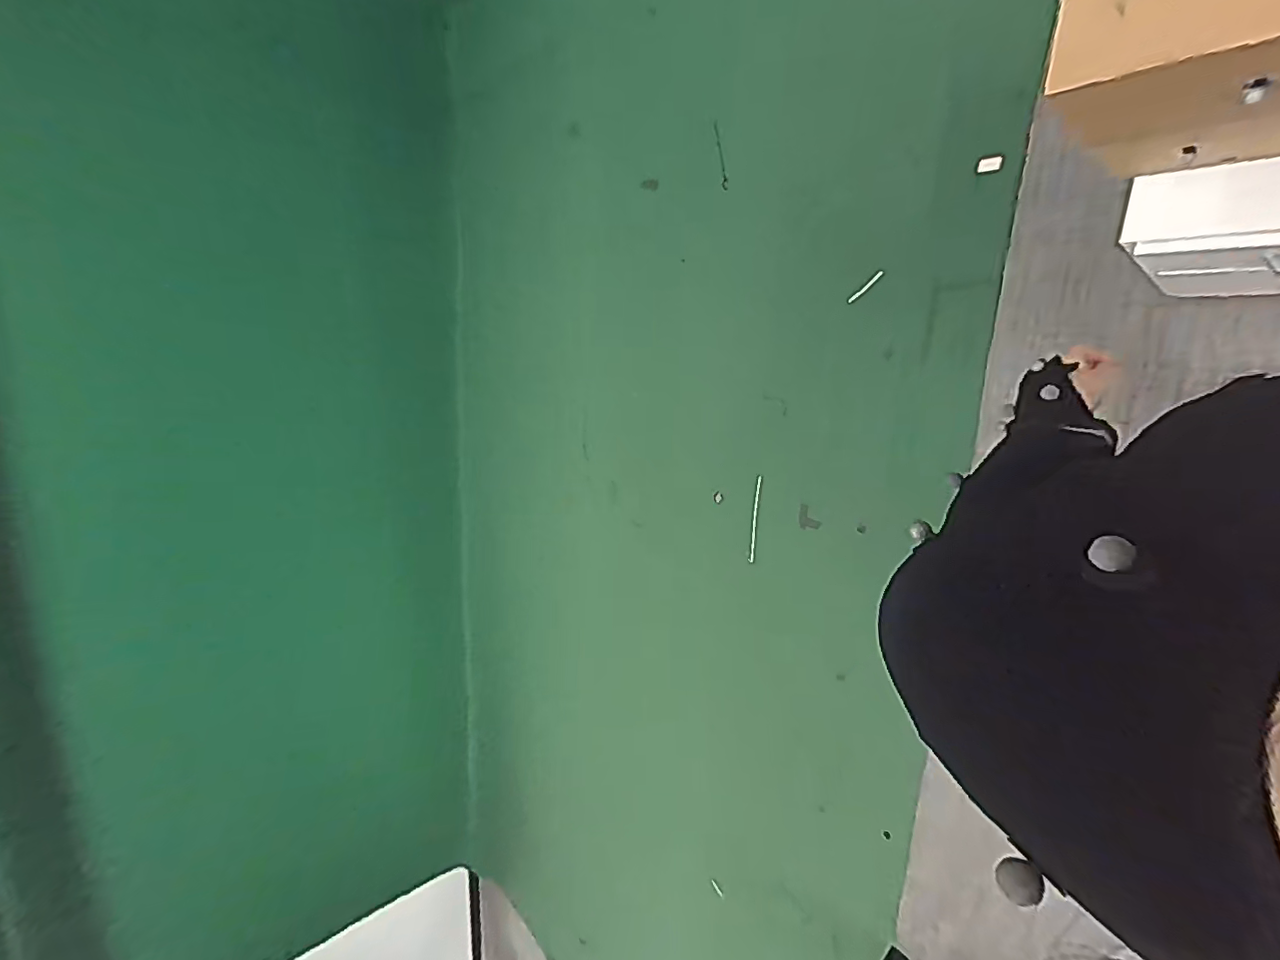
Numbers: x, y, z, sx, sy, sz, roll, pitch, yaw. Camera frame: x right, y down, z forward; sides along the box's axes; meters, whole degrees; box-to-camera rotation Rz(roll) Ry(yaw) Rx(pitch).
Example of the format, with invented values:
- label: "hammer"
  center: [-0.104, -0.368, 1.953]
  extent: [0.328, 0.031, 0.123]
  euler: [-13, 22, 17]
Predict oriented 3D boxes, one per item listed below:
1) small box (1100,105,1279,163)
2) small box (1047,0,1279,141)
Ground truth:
- label: "small box"
  center: [0.604, -0.449, 0.558]
  extent: [0.168, 0.176, 0.179]
  euler: [18, 109, 44]
- label: "small box"
  center: [0.483, -0.416, 0.454]
  extent: [0.179, 0.176, 0.168]
  euler: [16, 107, 46]
